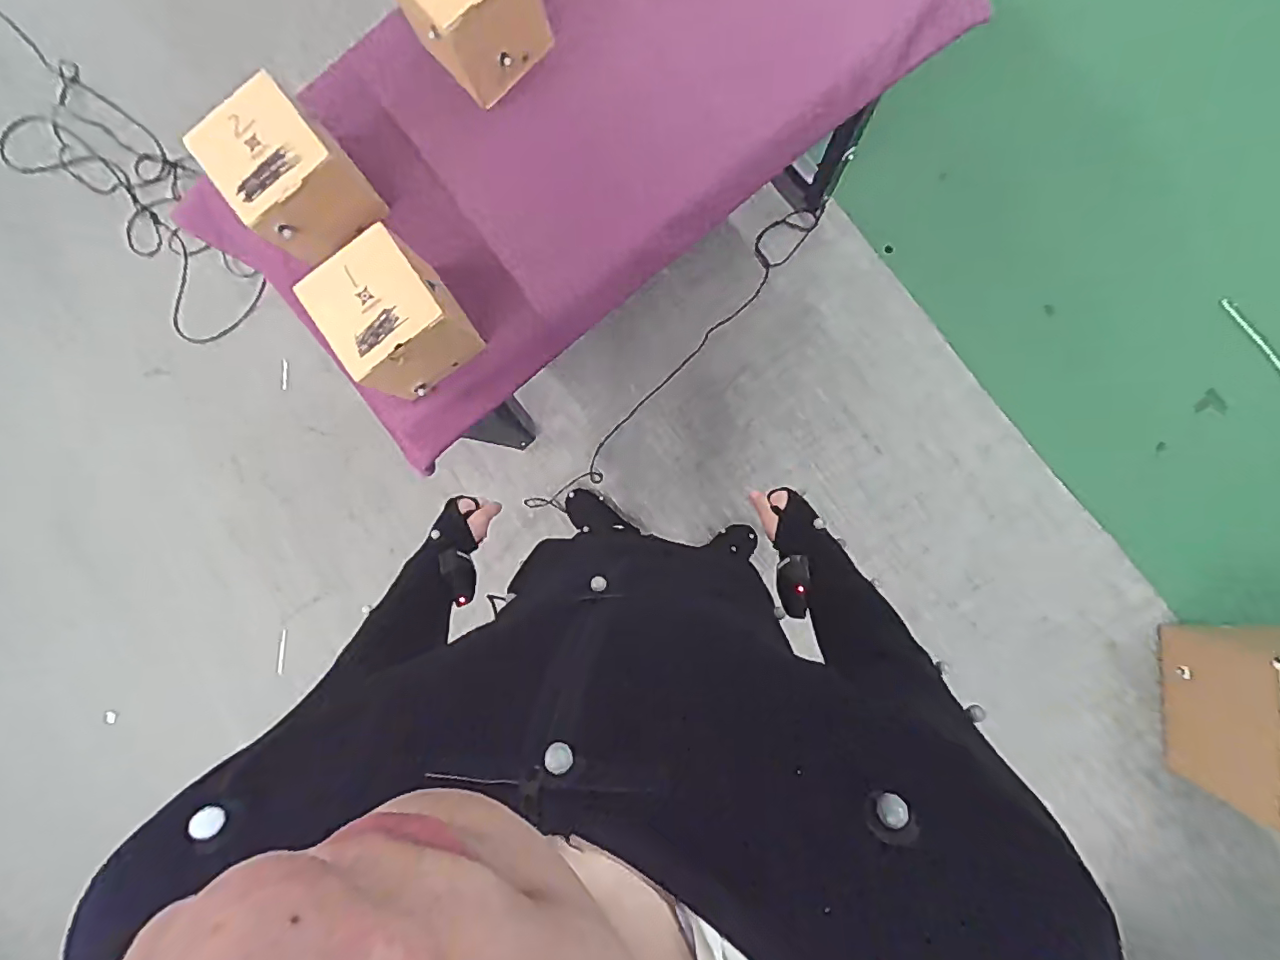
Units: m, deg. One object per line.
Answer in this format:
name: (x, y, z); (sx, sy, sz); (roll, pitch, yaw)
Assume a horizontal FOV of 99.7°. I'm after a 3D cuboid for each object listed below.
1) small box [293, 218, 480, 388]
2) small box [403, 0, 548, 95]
small box: (-0.385, -0.262, 0.856); (0.168, 0.176, 0.179); (-36, 86, 3)
small box: (-0.272, -0.768, 0.849); (0.168, 0.176, 0.179); (-43, 89, 3)
